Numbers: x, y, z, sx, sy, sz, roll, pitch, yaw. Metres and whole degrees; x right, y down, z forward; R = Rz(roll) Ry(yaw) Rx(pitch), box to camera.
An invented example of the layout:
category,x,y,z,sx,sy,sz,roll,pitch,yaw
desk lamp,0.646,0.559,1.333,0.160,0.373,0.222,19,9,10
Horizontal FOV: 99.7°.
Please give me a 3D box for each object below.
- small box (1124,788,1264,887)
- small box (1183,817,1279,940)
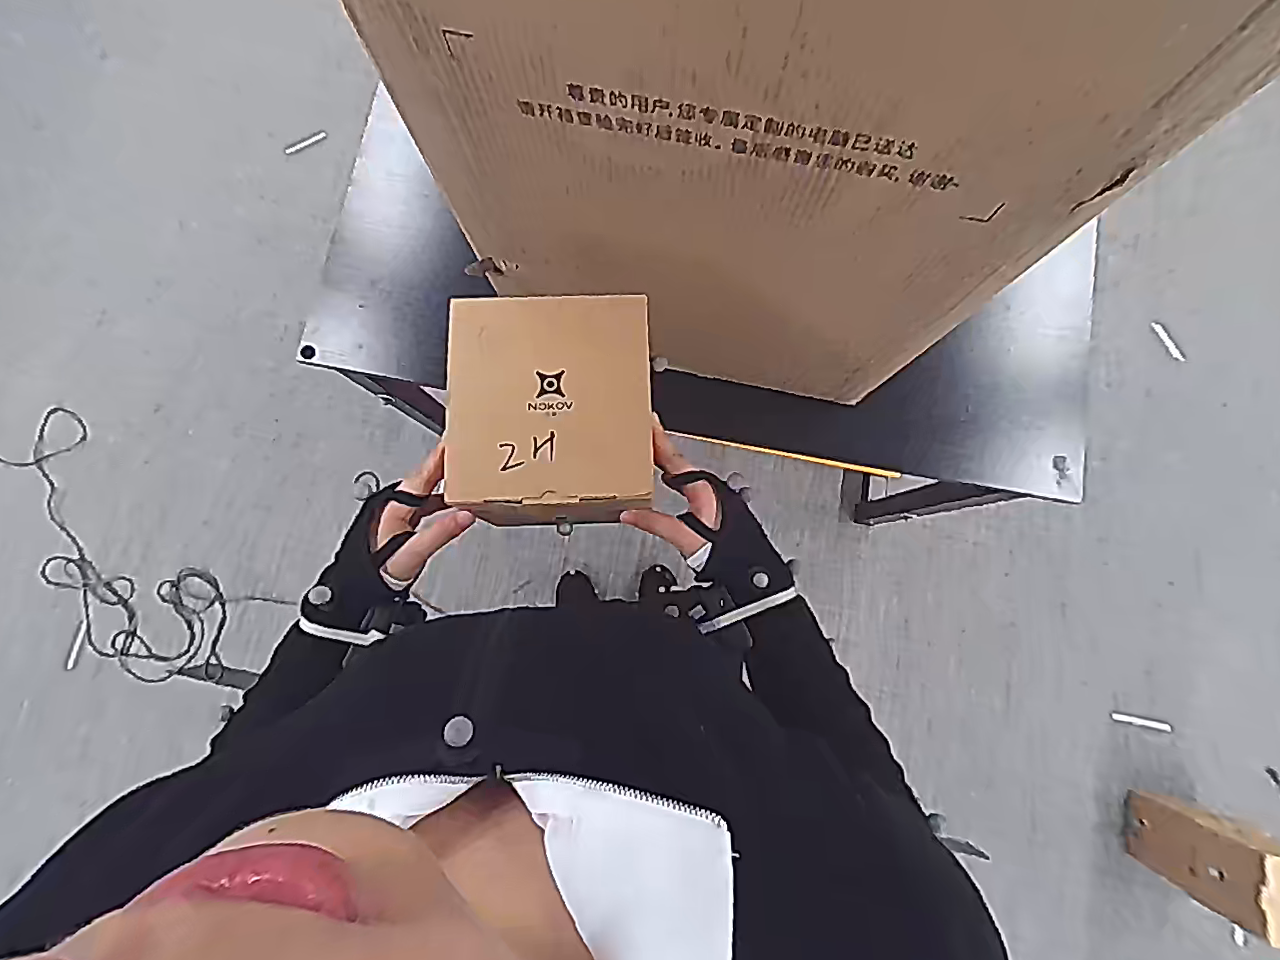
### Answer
category,x,y,z,sx,sy,sz,roll,pitch,yaw
small box,1.342,0.879,1.317,0.179,0.176,0.168,10,80,3
small box,1.324,0.853,1.155,0.179,0.176,0.168,11,80,3
